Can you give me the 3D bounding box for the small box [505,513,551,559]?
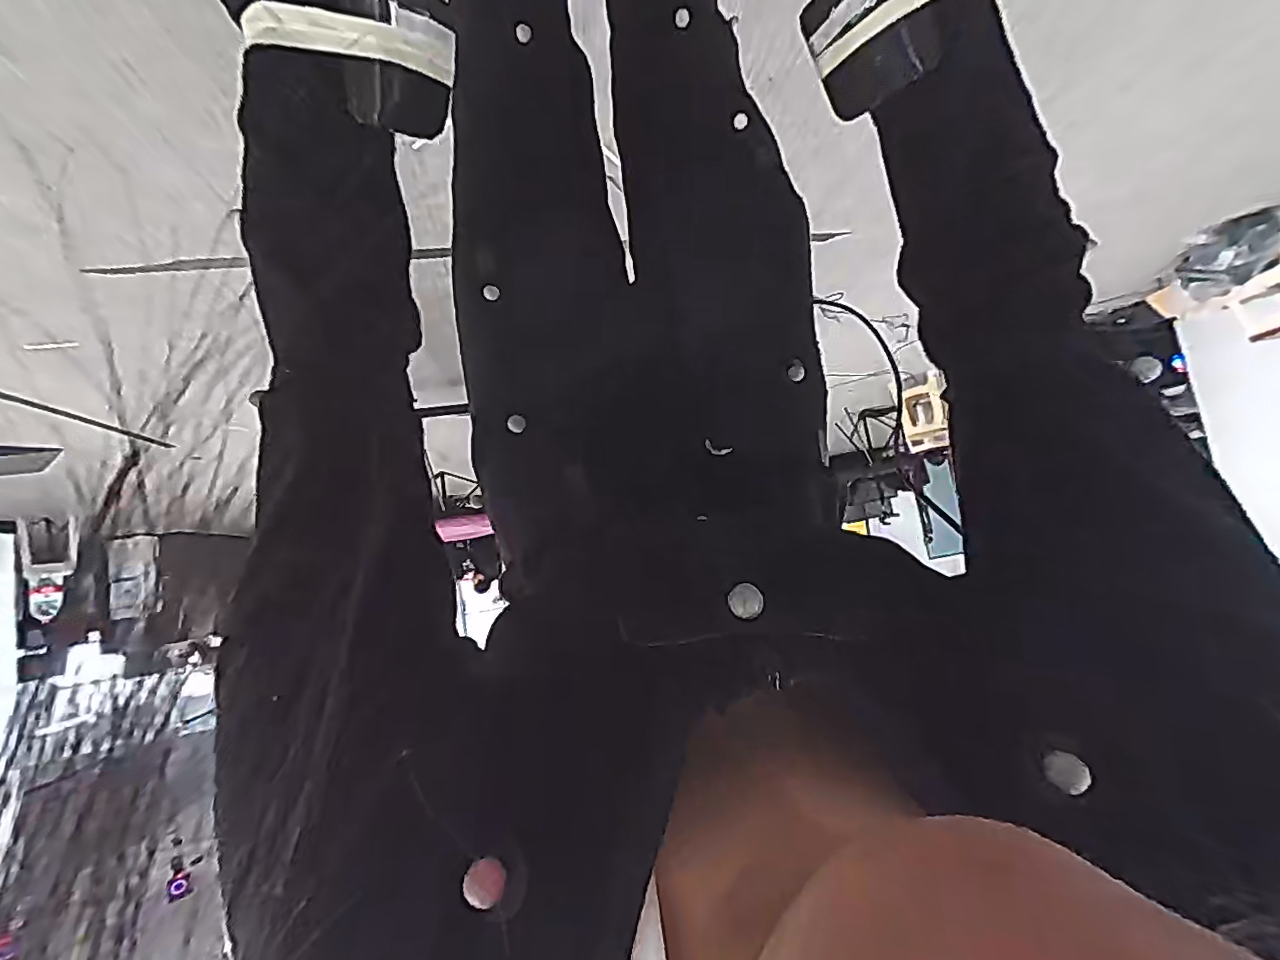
[{"bbox_3d":[-0.474,0.235,2.282,0.168,0.176,0.179,-9,174,-14],"label":"small box"}]
